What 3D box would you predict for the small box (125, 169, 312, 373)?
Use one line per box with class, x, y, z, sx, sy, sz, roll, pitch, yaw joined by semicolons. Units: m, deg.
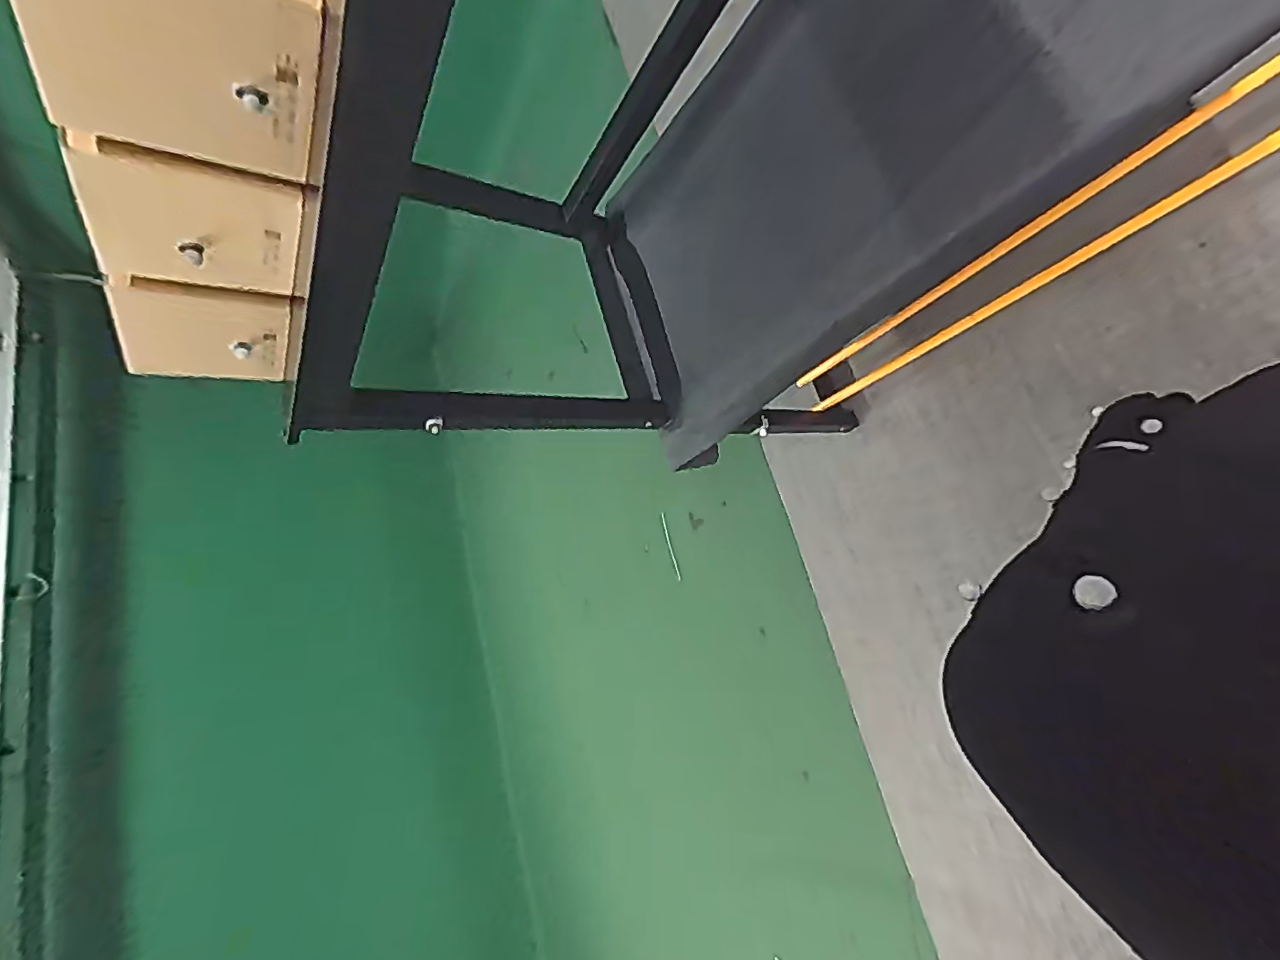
small box;-0.542;-0.254;0.704;0.168;0.176;0.179;-36;66;48
